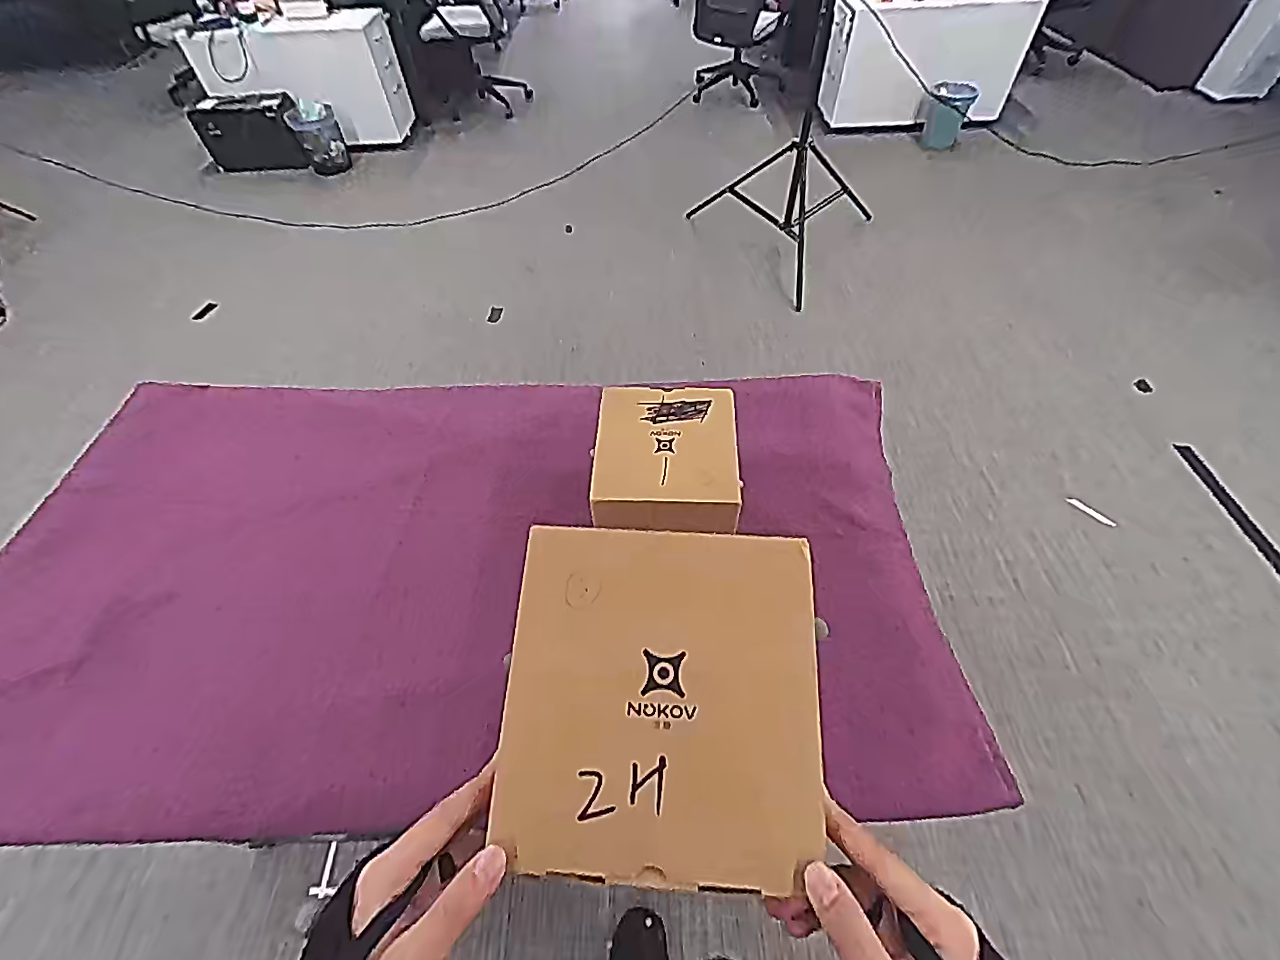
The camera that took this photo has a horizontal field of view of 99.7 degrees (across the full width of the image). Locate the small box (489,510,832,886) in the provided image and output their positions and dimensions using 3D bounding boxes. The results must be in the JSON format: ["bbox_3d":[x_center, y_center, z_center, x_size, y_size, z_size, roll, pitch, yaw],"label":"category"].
[{"bbox_3d":[0.018,0.133,0.359,0.168,0.176,0.179,3,68,5],"label":"small box"}]

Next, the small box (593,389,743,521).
[{"bbox_3d":[0.036,0.004,0.693,0.168,0.176,0.179,1,53,3],"label":"small box"}]
